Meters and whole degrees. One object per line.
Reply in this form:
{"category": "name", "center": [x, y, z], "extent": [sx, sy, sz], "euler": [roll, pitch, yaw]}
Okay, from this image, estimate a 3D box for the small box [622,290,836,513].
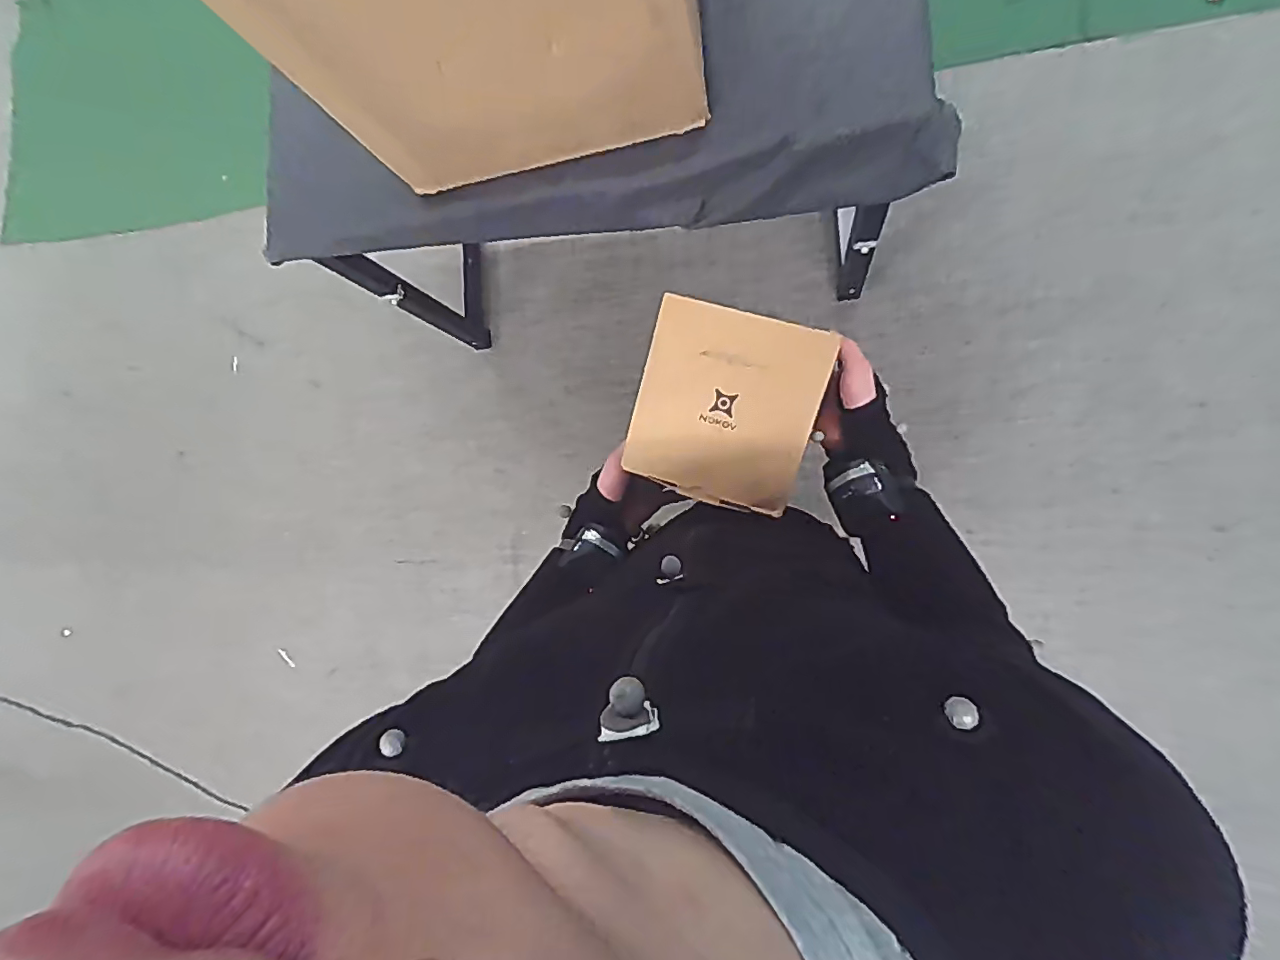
{"category": "small box", "center": [0.097, -0.086, 0.583], "extent": [0.168, 0.176, 0.179], "euler": [17, 103, 11]}
